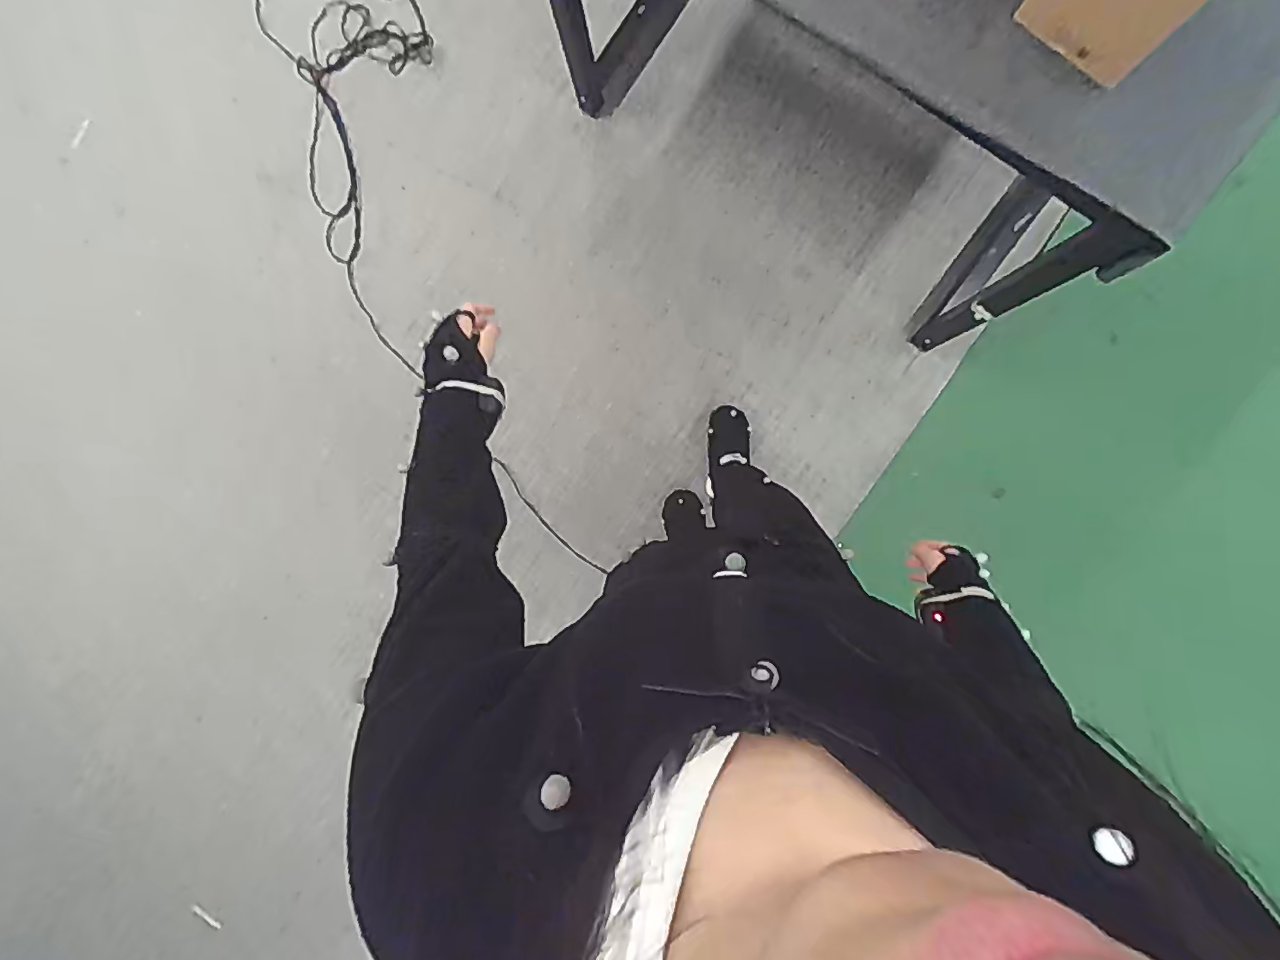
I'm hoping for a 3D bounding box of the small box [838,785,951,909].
[{"bbox_3d":[0.646,0.932,1.398,0.179,0.176,0.168,35,92,2],"label":"small box"}]
